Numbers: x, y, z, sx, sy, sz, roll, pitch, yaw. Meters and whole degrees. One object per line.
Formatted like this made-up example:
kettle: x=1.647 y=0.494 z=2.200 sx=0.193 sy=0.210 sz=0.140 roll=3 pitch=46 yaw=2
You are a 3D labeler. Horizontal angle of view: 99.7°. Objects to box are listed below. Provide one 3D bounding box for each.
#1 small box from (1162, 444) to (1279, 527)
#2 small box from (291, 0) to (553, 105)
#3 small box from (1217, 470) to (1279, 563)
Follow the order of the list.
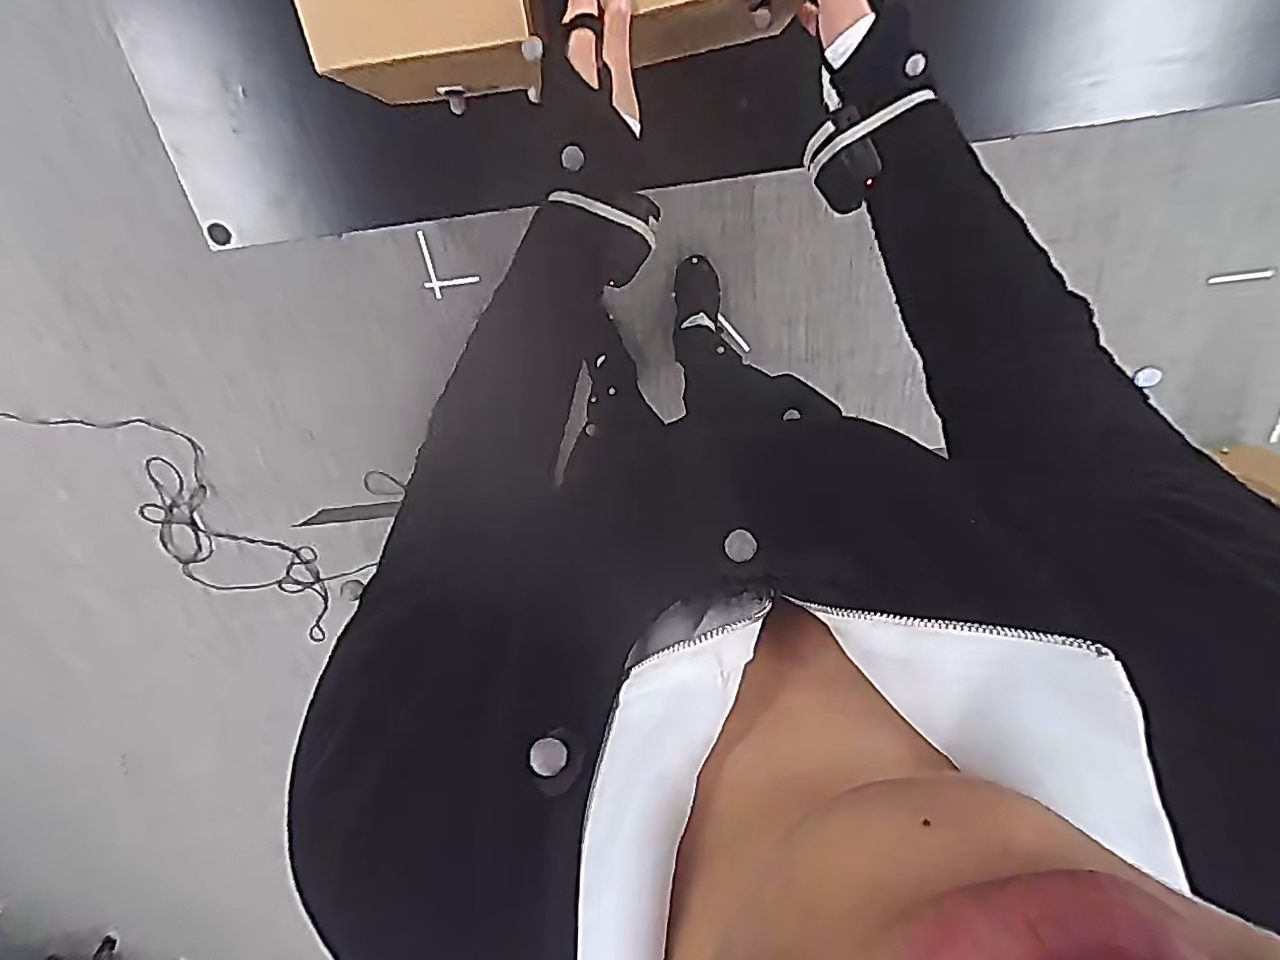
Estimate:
small box: x=1.647 y=0.013 z=1.525 sx=0.179 sy=0.176 sz=0.168 roll=-9 pitch=117 yaw=4
small box: x=-0.173 y=-0.425 z=0.430 sx=0.168 sy=0.176 sz=0.179 roll=-7 pitch=117 yaw=3
small box: x=1.647 y=0.083 z=1.375 sx=0.168 sy=0.176 sz=0.179 roll=-9 pitch=118 yaw=3
